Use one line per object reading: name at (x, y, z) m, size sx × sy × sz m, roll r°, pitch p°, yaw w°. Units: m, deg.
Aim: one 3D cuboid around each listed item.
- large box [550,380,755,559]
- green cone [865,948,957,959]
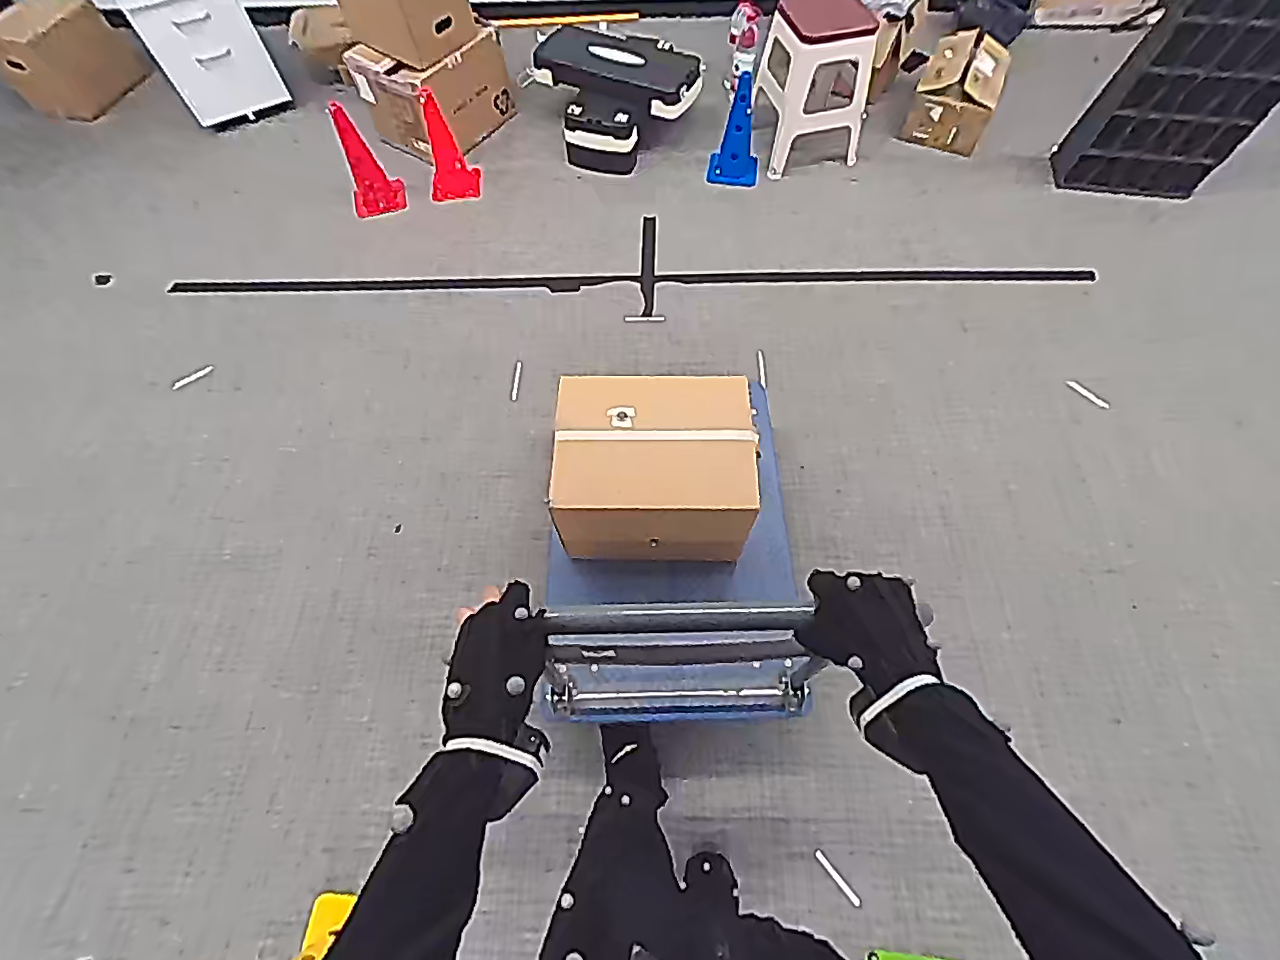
large box at (0.029, -0.010, 1.240) m, size 0.408 × 0.320 × 0.320 m, roll 0°, pitch 63°, yaw 2°
green cone at (0.540, 0.959, 0.889) m, size 0.202 × 0.368 × 0.200 m, roll 4°, pitch 63°, yaw 2°
